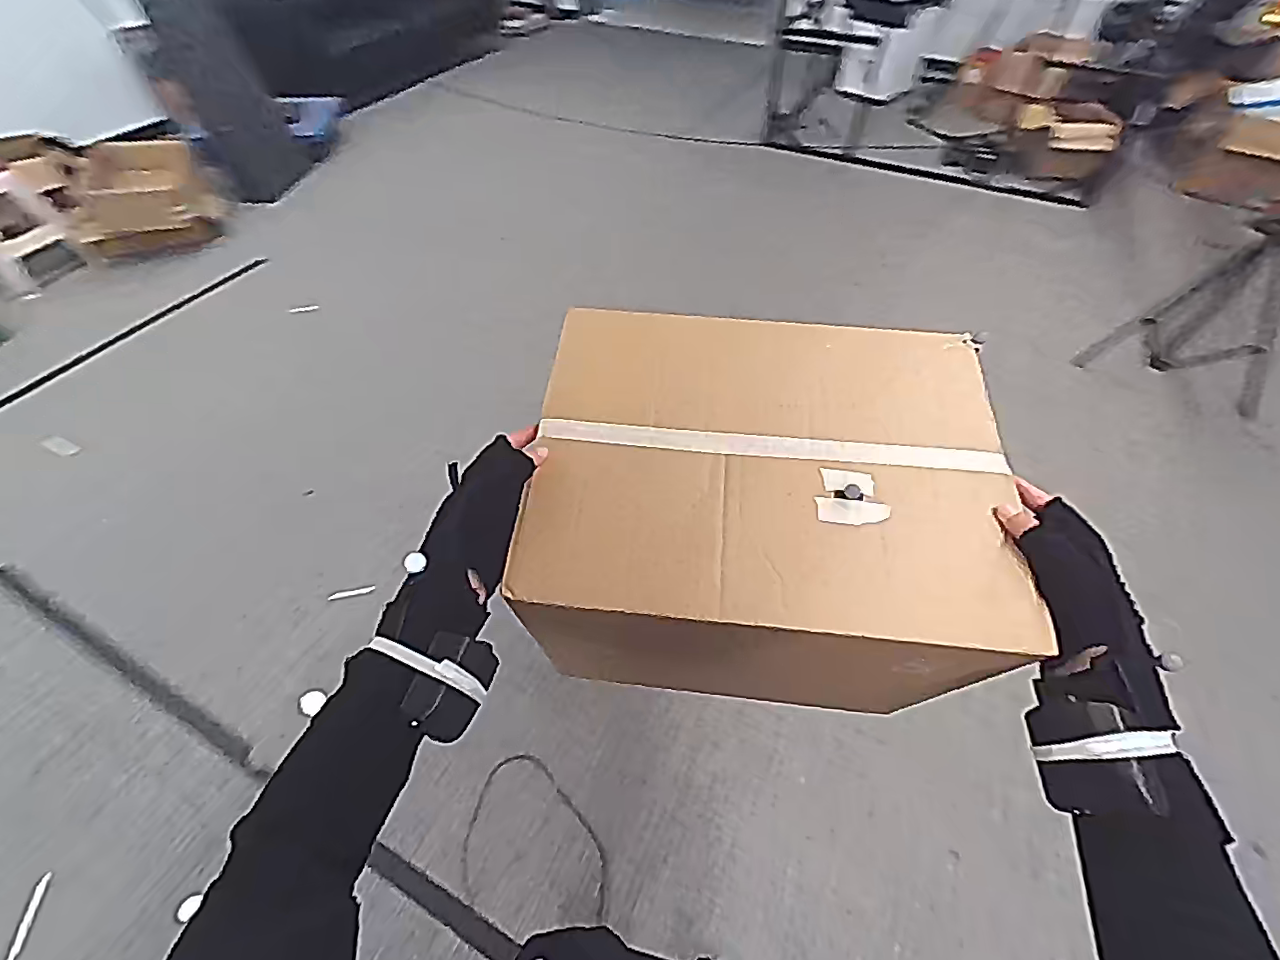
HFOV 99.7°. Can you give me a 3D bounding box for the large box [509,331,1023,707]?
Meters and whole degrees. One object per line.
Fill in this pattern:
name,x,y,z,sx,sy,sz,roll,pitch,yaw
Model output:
large box,0.103,0.060,0.617,0.408,0.320,0.320,4,60,3
